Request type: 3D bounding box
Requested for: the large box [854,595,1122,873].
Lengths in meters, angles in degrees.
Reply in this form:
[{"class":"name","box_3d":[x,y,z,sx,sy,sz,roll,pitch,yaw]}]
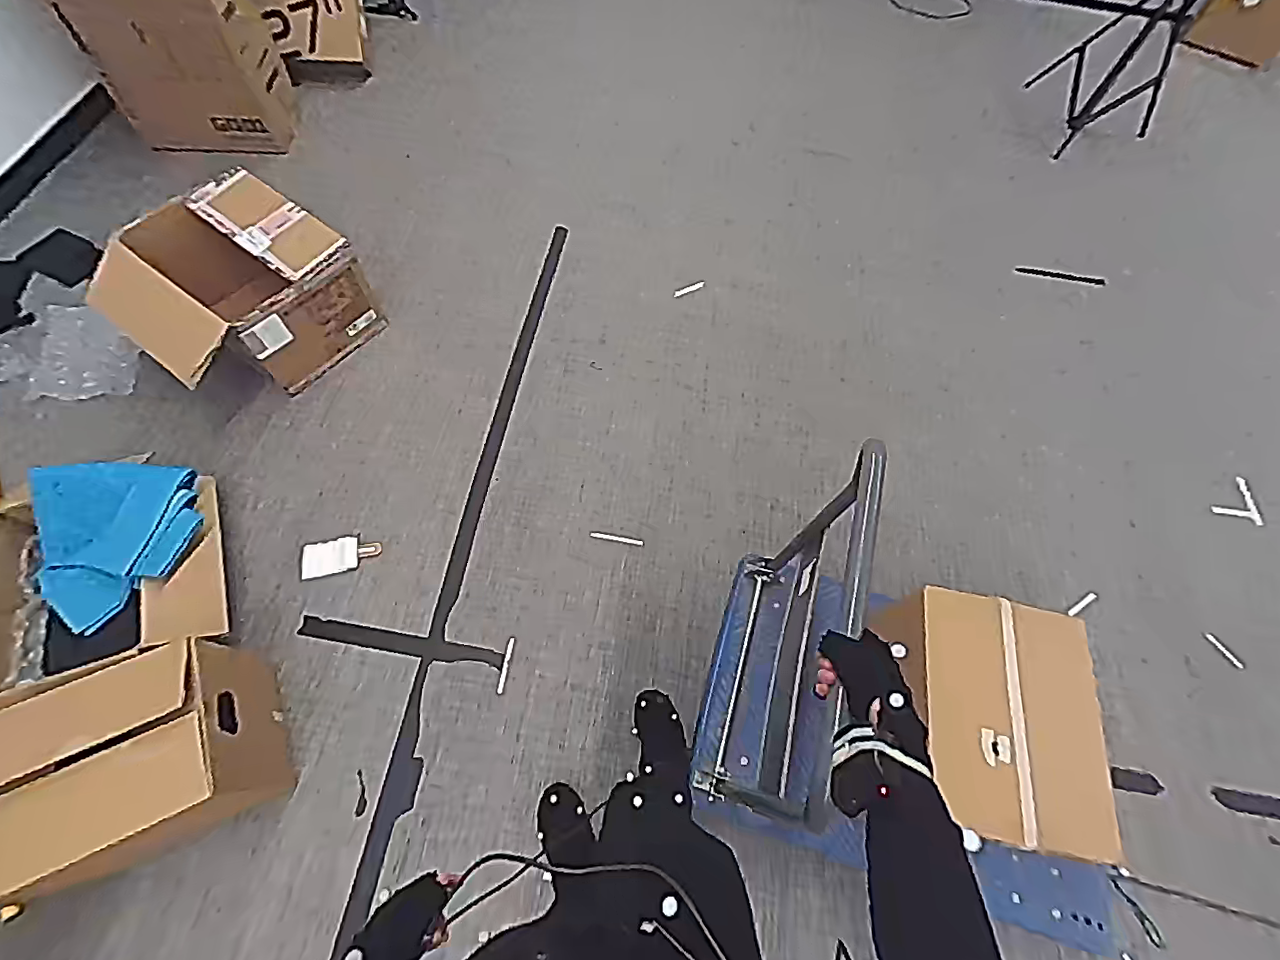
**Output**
[{"class":"large box","box_3d":[0.641,0.486,1.081,0.320,0.320,0.408,12,63,2]}]
